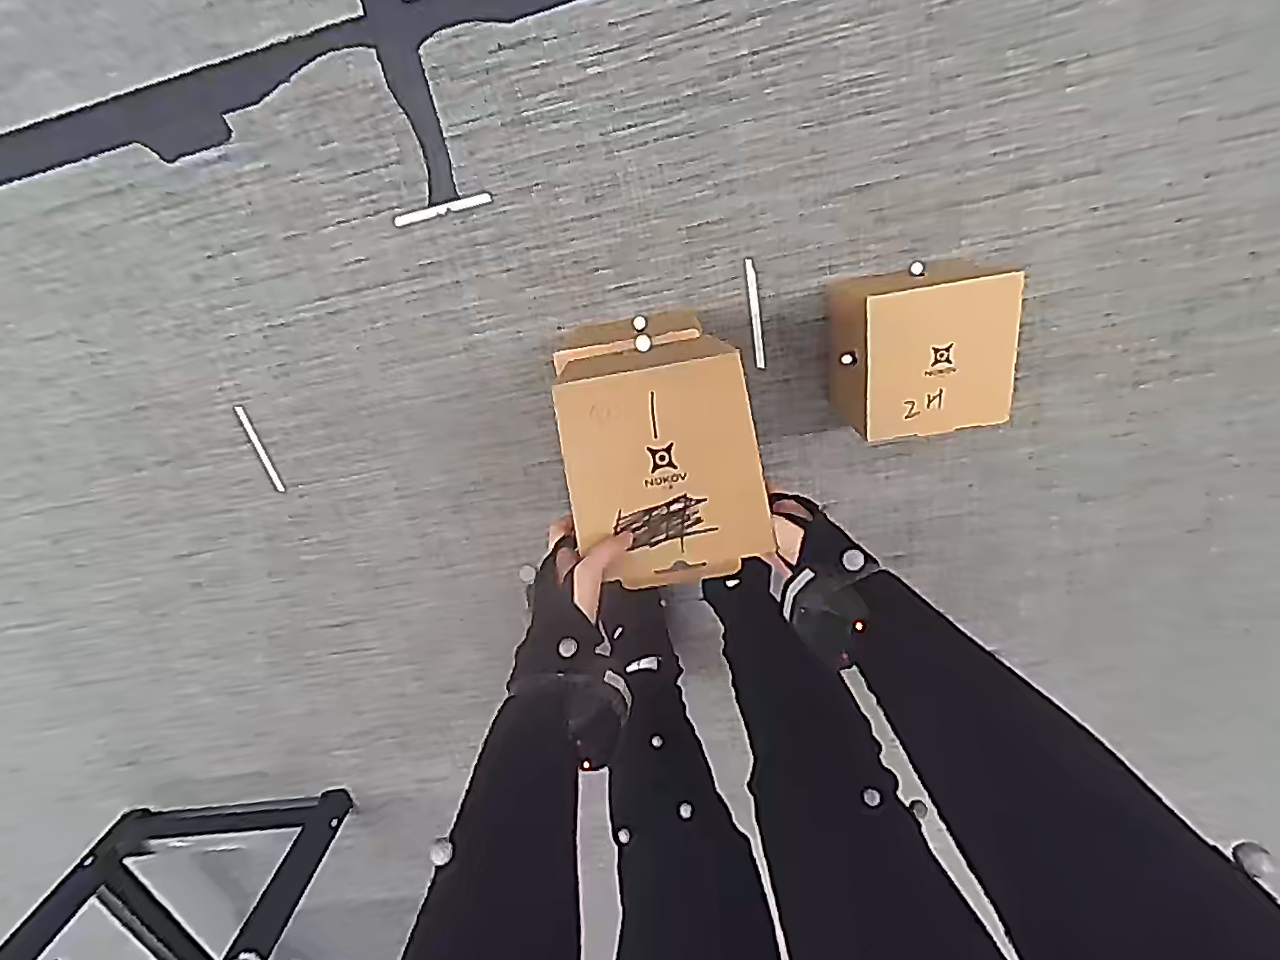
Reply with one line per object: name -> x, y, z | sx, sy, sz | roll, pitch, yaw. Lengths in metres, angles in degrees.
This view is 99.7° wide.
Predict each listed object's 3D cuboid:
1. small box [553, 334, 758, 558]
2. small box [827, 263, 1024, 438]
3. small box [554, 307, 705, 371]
small box -> 0.015, -0.045, 0.555 | 0.168, 0.176, 0.179 | -10, 108, 0
small box -> 0.341, -0.172, 0.683 | 0.168, 0.176, 0.179 | -7, 115, 6
small box -> -0.003, -0.126, 0.716 | 0.179, 0.176, 0.168 | -8, 114, 5
